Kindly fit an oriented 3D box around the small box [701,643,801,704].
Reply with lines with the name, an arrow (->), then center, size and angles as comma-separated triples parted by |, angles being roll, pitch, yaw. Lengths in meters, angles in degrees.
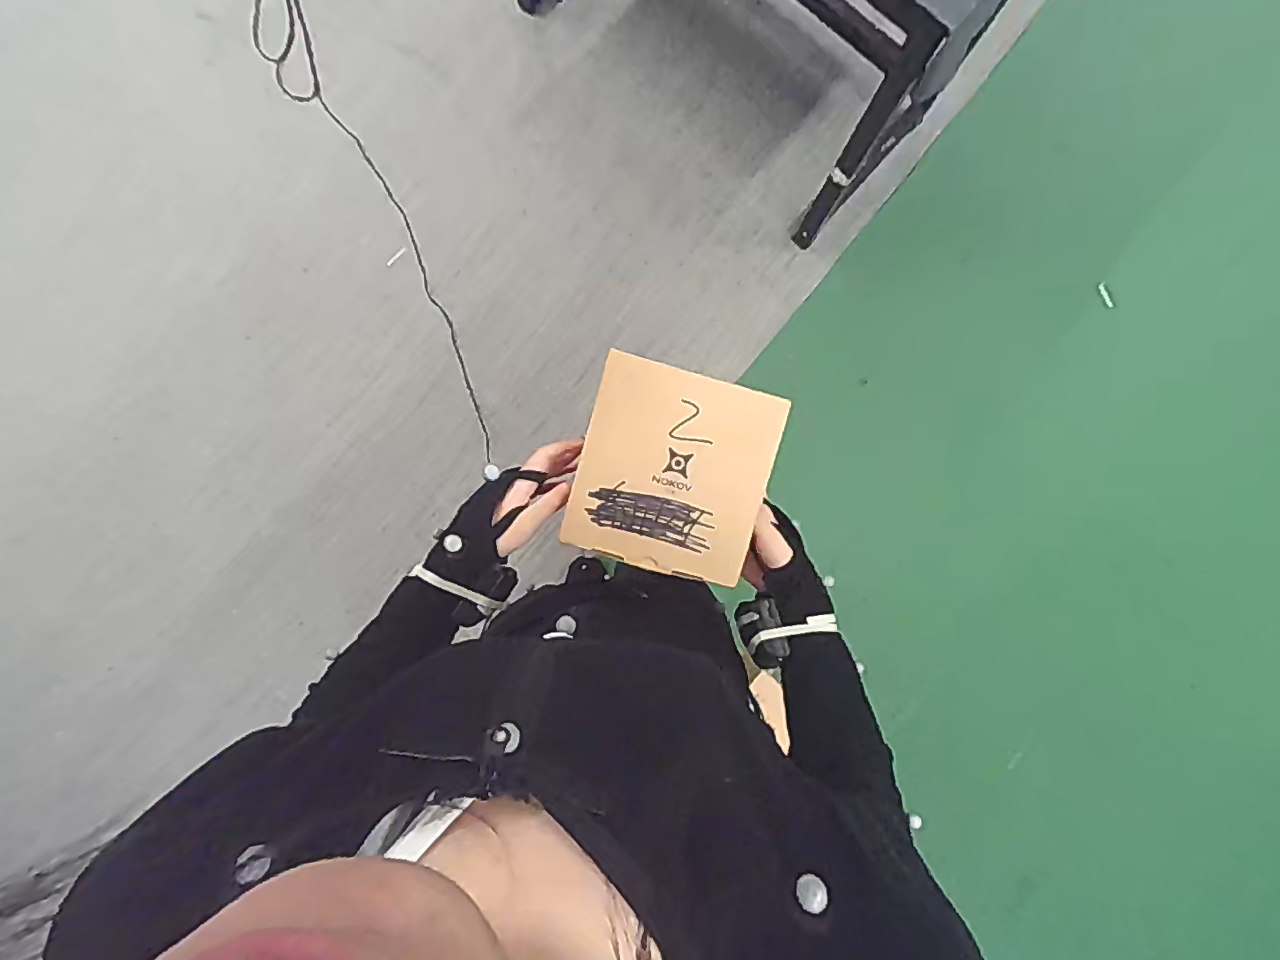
small box -> 0.280, 0.548, 1.410 | 0.179, 0.176, 0.168 | 41, 85, 2
